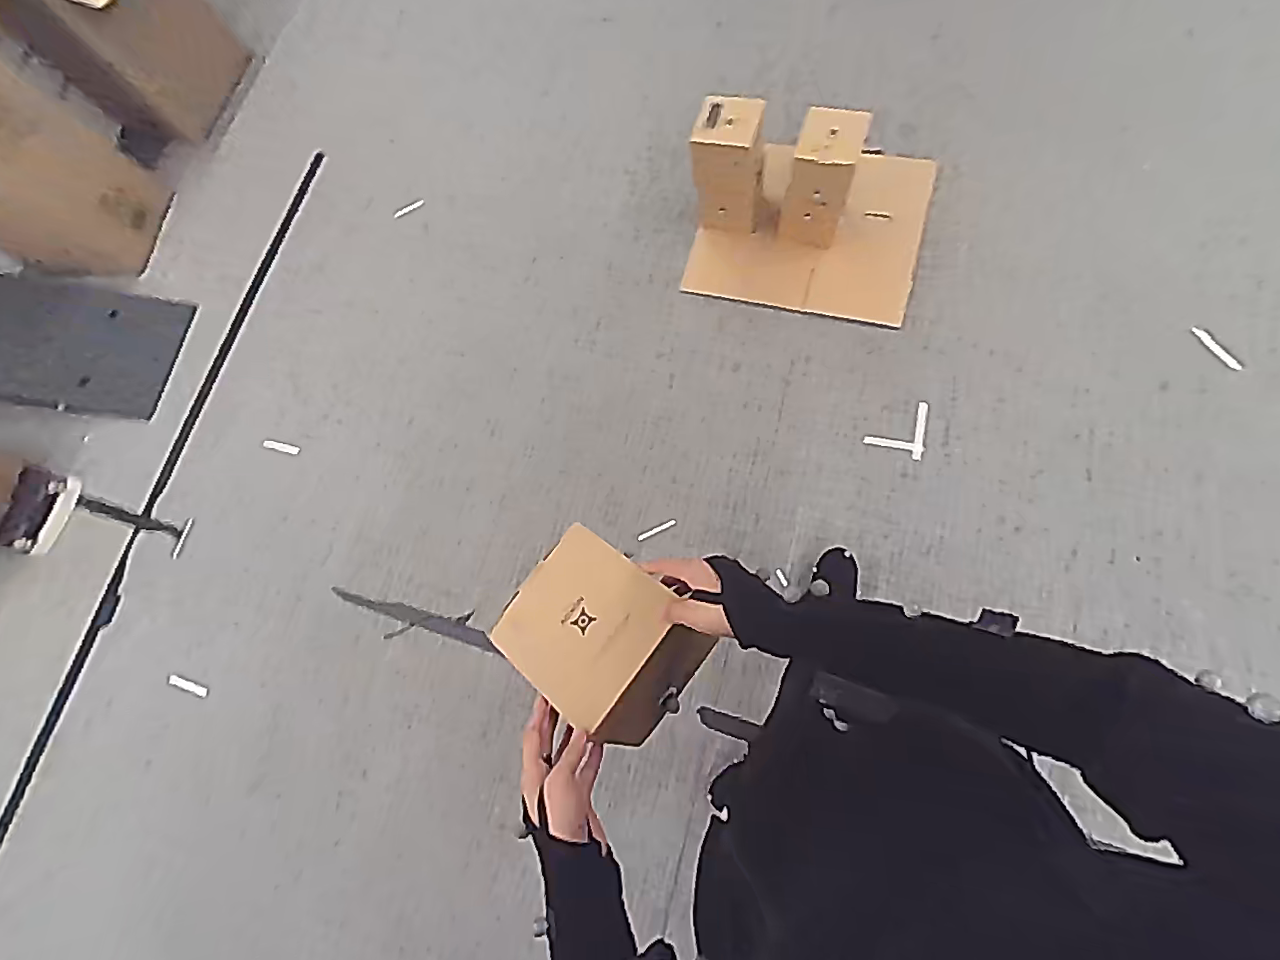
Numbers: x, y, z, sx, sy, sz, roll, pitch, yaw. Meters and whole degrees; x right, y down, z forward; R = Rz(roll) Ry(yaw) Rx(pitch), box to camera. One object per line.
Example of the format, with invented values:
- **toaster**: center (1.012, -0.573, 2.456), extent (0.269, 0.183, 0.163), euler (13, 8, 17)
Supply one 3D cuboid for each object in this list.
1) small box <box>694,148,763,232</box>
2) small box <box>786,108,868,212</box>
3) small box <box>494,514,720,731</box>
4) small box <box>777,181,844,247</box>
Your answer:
- **small box**: center (0.286, -0.923, 1.734), extent (0.179, 0.176, 0.168), euler (14, 78, 15)
- **small box**: center (0.516, -0.891, 1.513), extent (0.168, 0.176, 0.179), euler (16, 79, 14)
- **small box**: center (-0.031, 0.176, 0.646), extent (0.179, 0.176, 0.168), euler (33, 78, 32)
- **small box**: center (0.534, -0.849, 1.672), extent (0.179, 0.176, 0.168), euler (16, 79, 14)
